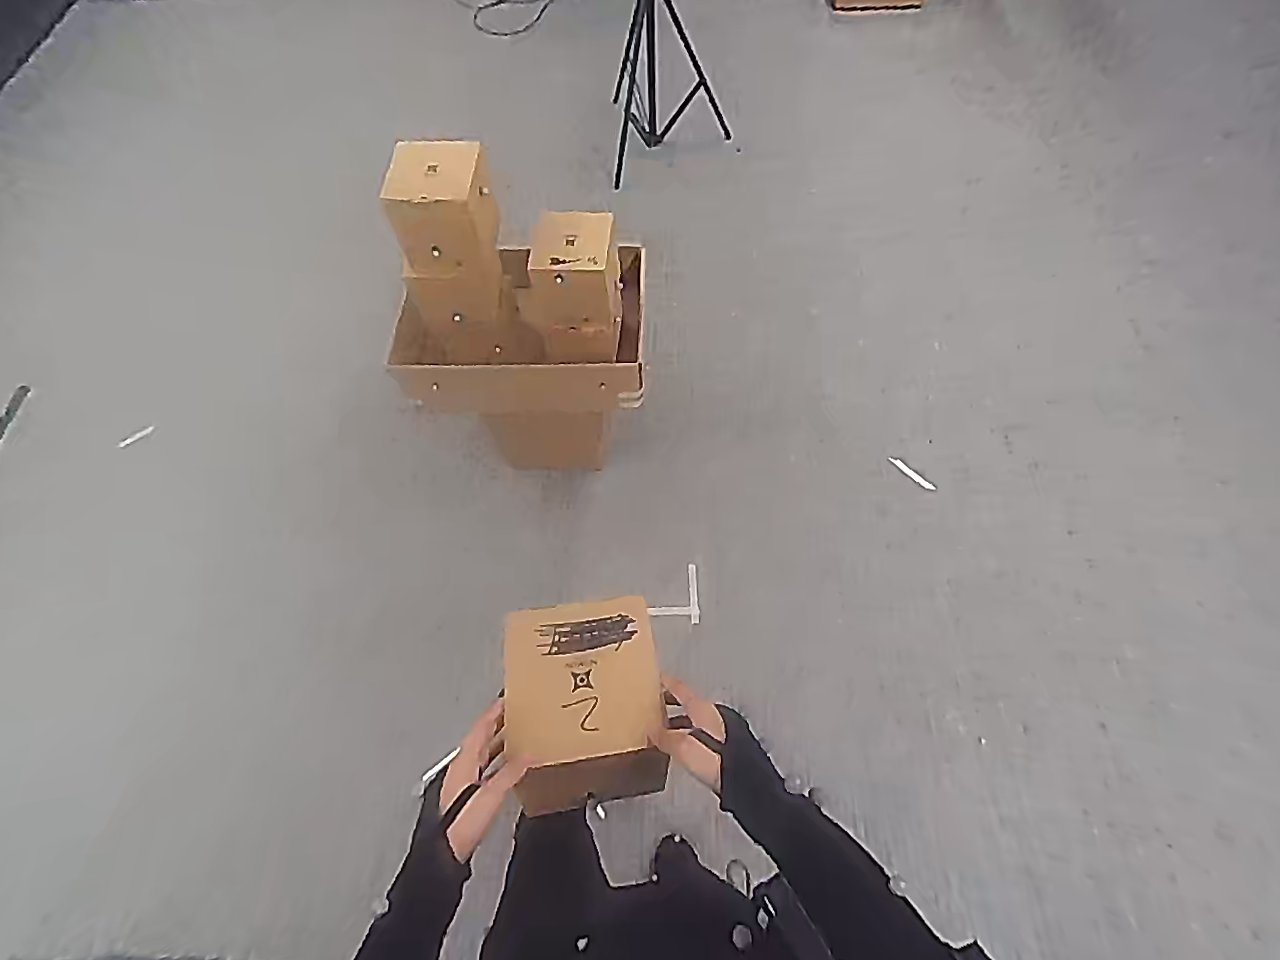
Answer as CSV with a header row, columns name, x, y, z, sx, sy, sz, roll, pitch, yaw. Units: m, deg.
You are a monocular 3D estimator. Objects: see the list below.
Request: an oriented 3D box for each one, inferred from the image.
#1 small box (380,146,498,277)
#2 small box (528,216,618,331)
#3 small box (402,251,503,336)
name,x,y,z,sx,sy,sz,roll,pitch,yaw
small box,-0.390,-0.535,1.085,0.168,0.176,0.179,0,64,0
small box,-0.141,-0.460,1.211,0.168,0.176,0.179,3,63,4
small box,-0.414,-0.450,1.225,0.168,0.176,0.179,-3,64,-1
